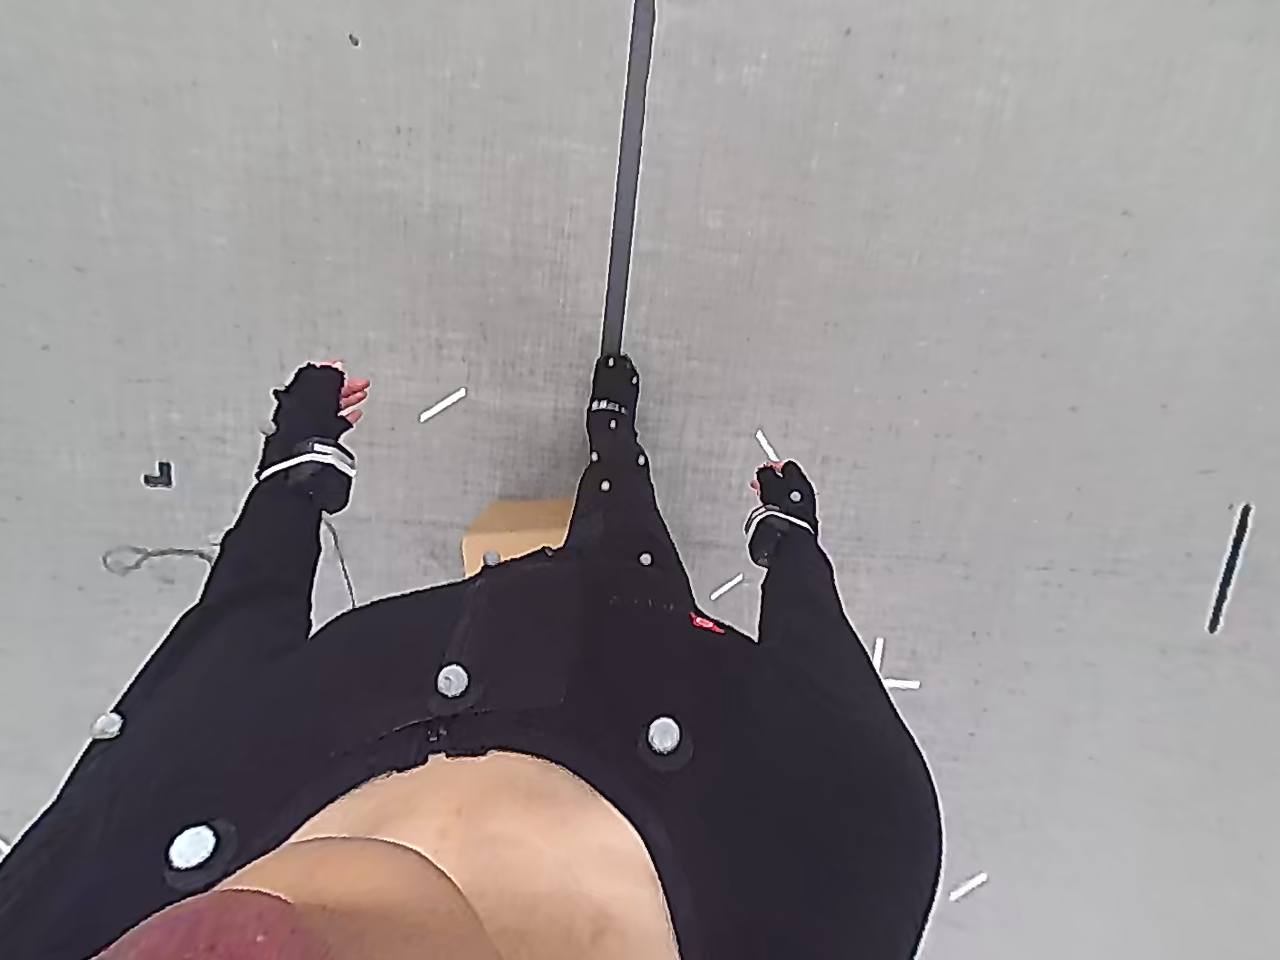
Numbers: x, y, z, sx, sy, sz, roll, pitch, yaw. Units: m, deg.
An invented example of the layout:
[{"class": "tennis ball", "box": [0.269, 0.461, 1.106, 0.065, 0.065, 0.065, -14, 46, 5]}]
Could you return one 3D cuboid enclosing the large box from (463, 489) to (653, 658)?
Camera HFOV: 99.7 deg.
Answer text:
[{"class": "large box", "box": [-0.179, 0.212, 1.339, 0.408, 0.320, 0.320, -2, 101, -1]}]
